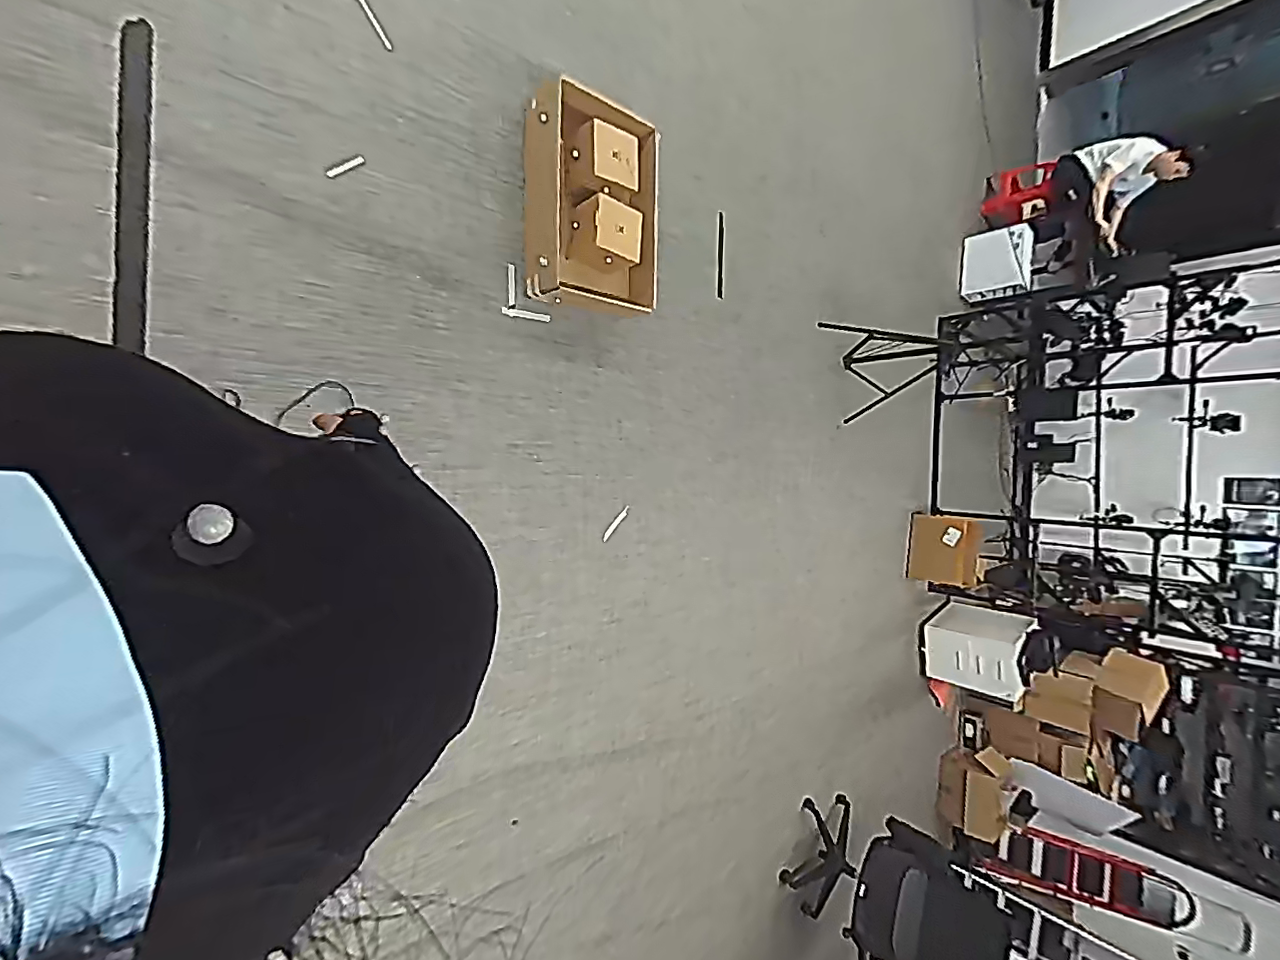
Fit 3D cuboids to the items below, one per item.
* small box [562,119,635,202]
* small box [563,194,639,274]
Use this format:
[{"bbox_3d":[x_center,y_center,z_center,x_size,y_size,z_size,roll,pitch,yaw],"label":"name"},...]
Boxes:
[{"bbox_3d":[-0.135,-1.002,1.725,0.179,0.176,0.168,-3,96,-42],"label":"small box"},{"bbox_3d":[-0.126,-0.786,1.748,0.179,0.176,0.168,6,88,-42],"label":"small box"}]
